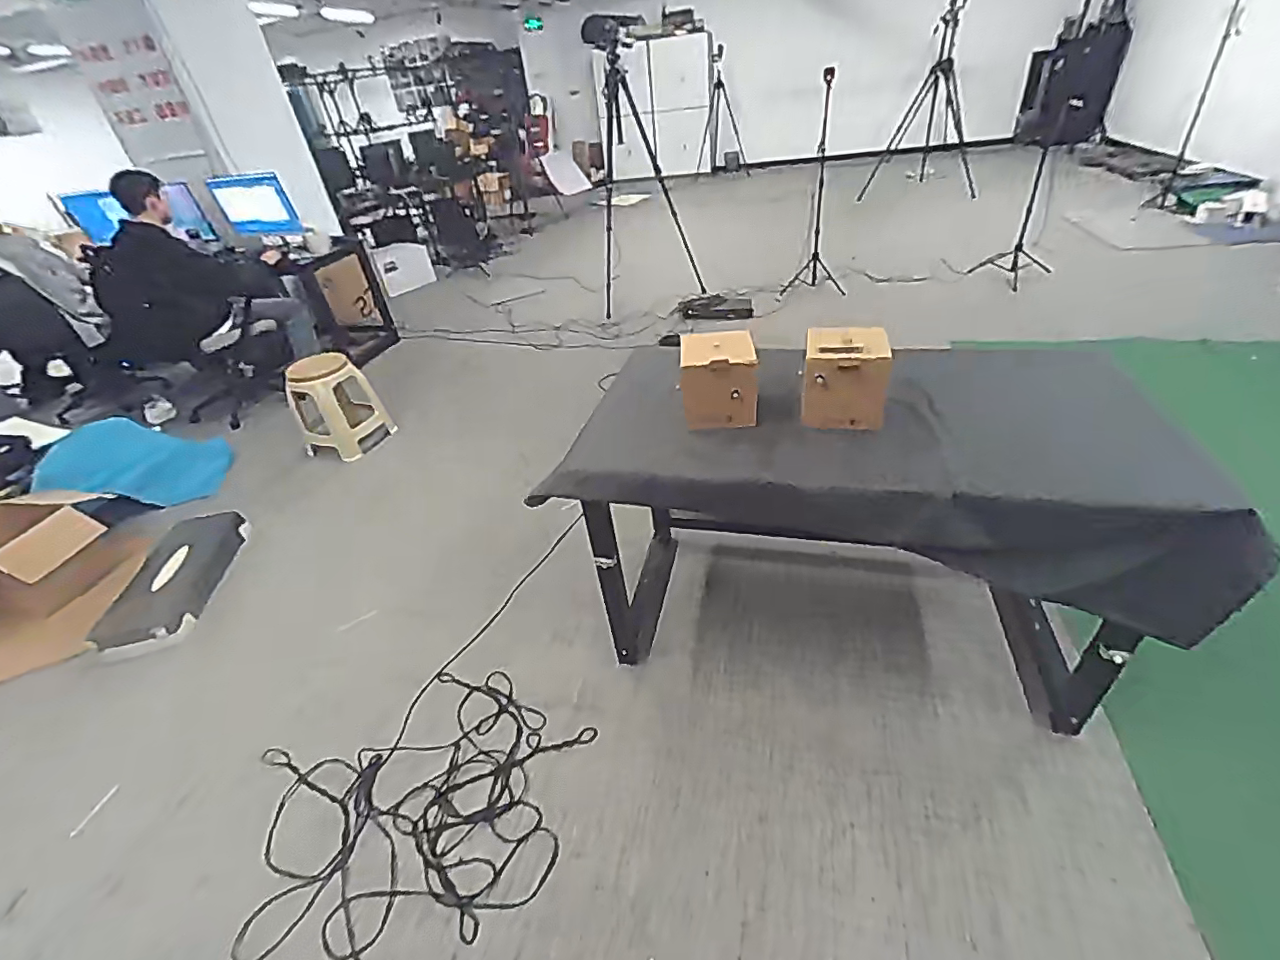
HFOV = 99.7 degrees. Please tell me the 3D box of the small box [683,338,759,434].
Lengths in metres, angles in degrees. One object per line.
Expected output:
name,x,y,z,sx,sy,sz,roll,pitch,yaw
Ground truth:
small box,0.189,-0.217,1.271,0.168,0.176,0.179,-2,35,6
